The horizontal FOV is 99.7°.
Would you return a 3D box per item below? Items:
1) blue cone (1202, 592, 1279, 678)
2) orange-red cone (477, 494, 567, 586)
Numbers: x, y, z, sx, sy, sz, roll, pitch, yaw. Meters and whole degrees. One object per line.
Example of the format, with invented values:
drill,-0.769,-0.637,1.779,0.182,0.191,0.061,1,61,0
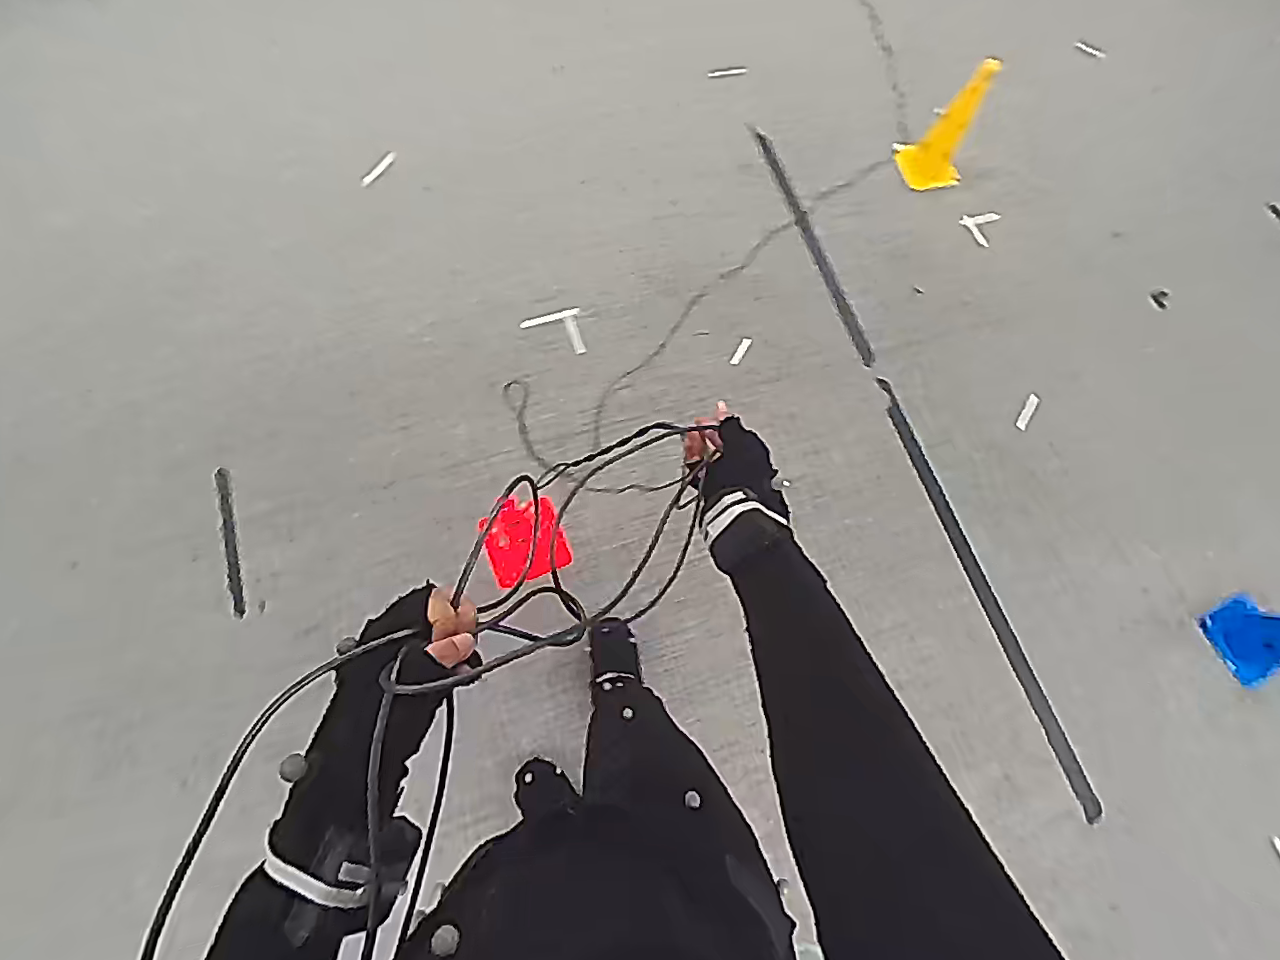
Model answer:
blue cone,1.650,0.359,1.301,0.192,0.380,0.193,-21,74,-11
orange-red cone,-0.289,0.099,1.223,0.198,0.360,0.199,-20,75,-11
